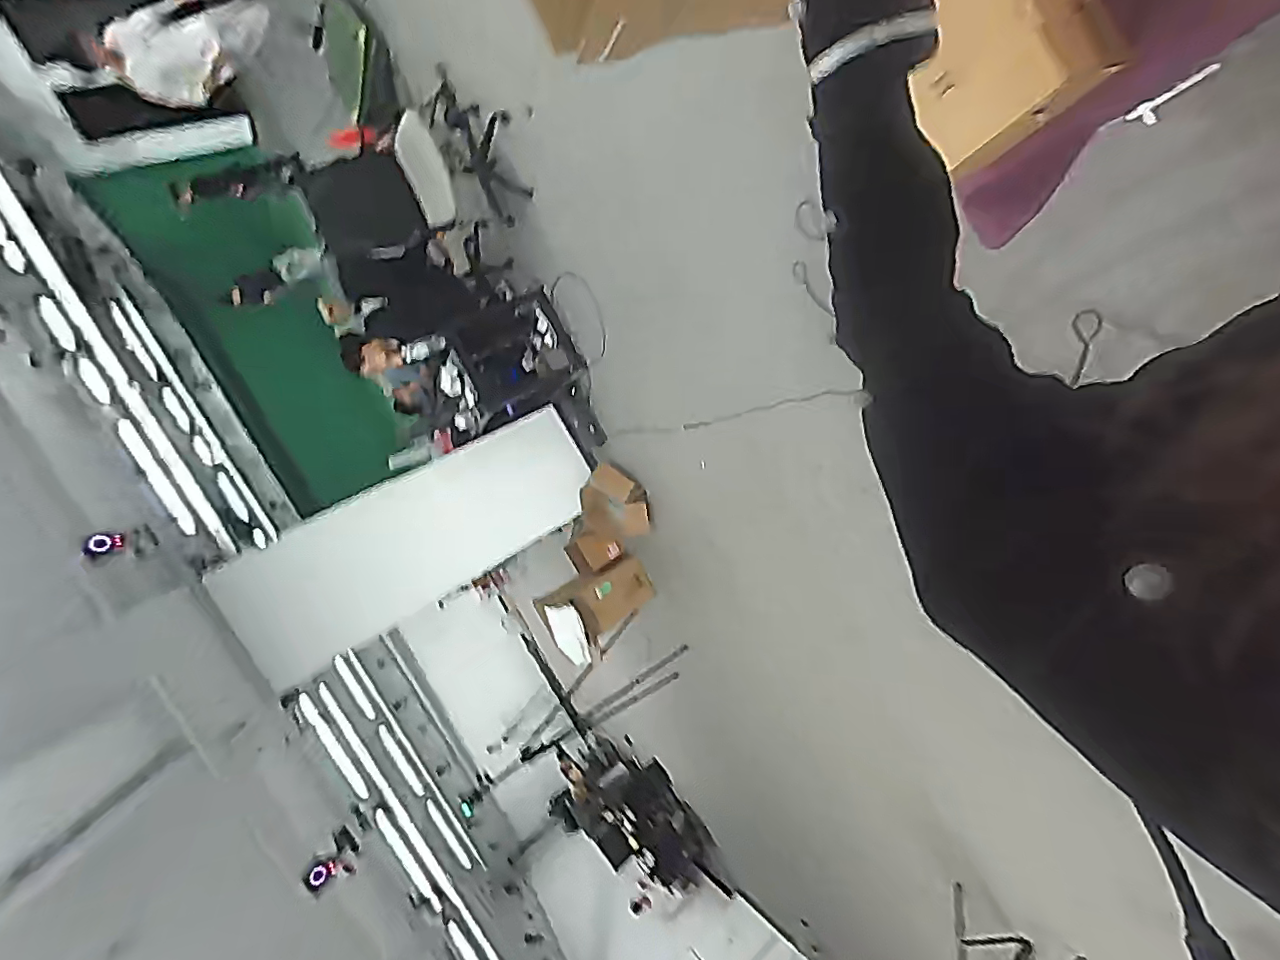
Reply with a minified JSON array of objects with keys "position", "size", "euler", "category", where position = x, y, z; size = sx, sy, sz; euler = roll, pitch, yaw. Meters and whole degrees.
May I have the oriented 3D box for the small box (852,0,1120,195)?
[{"position":[0.398,-0.477,0.632],"size":[0.168,0.176,0.179],"euler":[59,153,-2],"category":"small box"}]
